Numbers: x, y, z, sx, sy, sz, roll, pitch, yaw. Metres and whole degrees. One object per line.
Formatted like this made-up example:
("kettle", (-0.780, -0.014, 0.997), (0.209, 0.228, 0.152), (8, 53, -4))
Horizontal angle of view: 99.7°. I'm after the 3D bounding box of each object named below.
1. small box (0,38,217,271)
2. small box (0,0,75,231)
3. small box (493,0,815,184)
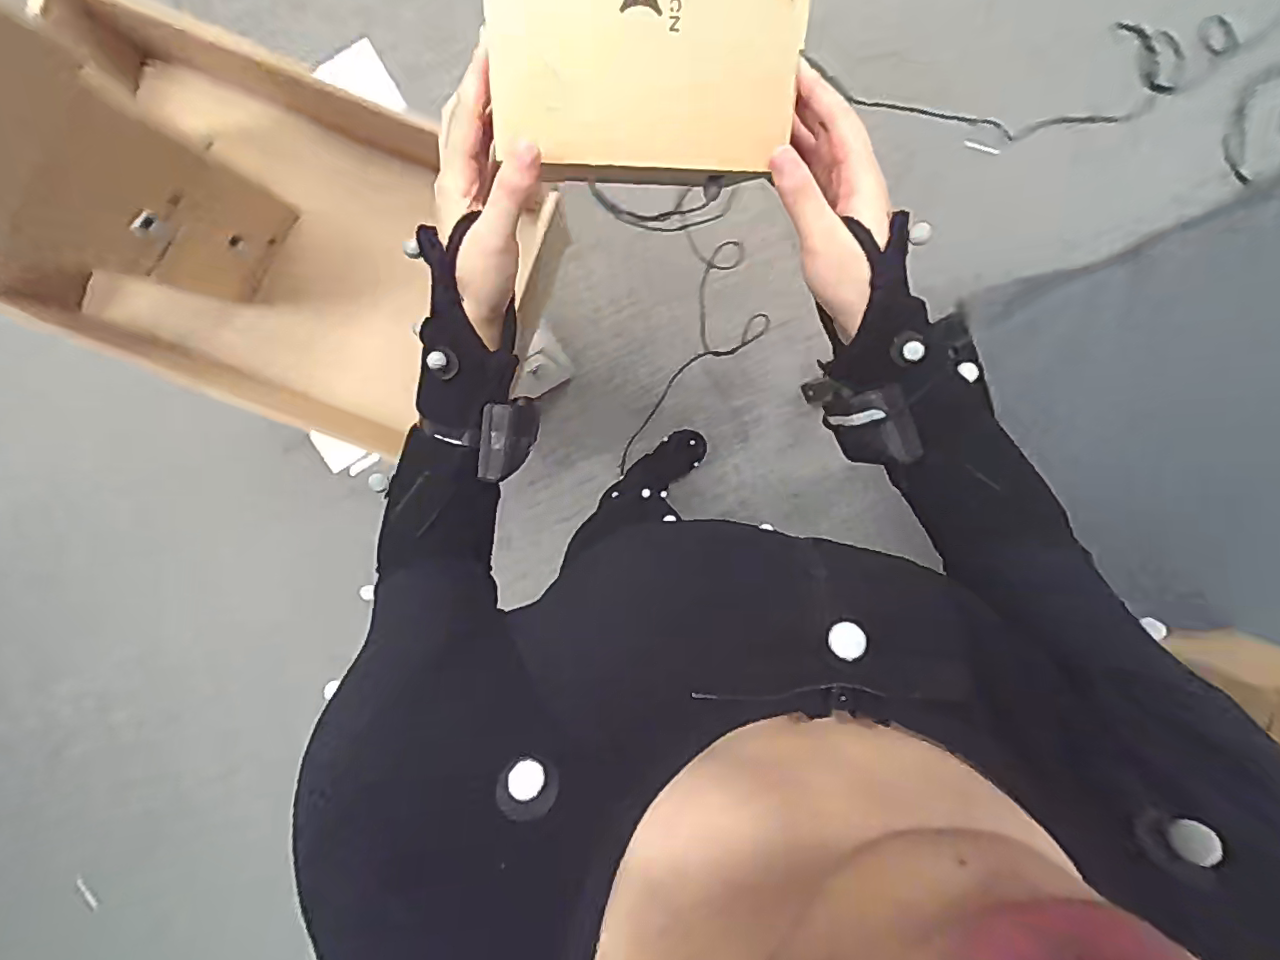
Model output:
("small box", (-0.586, -0.334, 0.531), (0.179, 0.176, 0.168), (37, 97, -7))
("small box", (-0.564, -0.310, 0.368), (0.168, 0.176, 0.179), (34, 97, -5))
("small box", (0.004, -0.297, 0.358), (0.179, 0.176, 0.168), (0, 116, -6))
